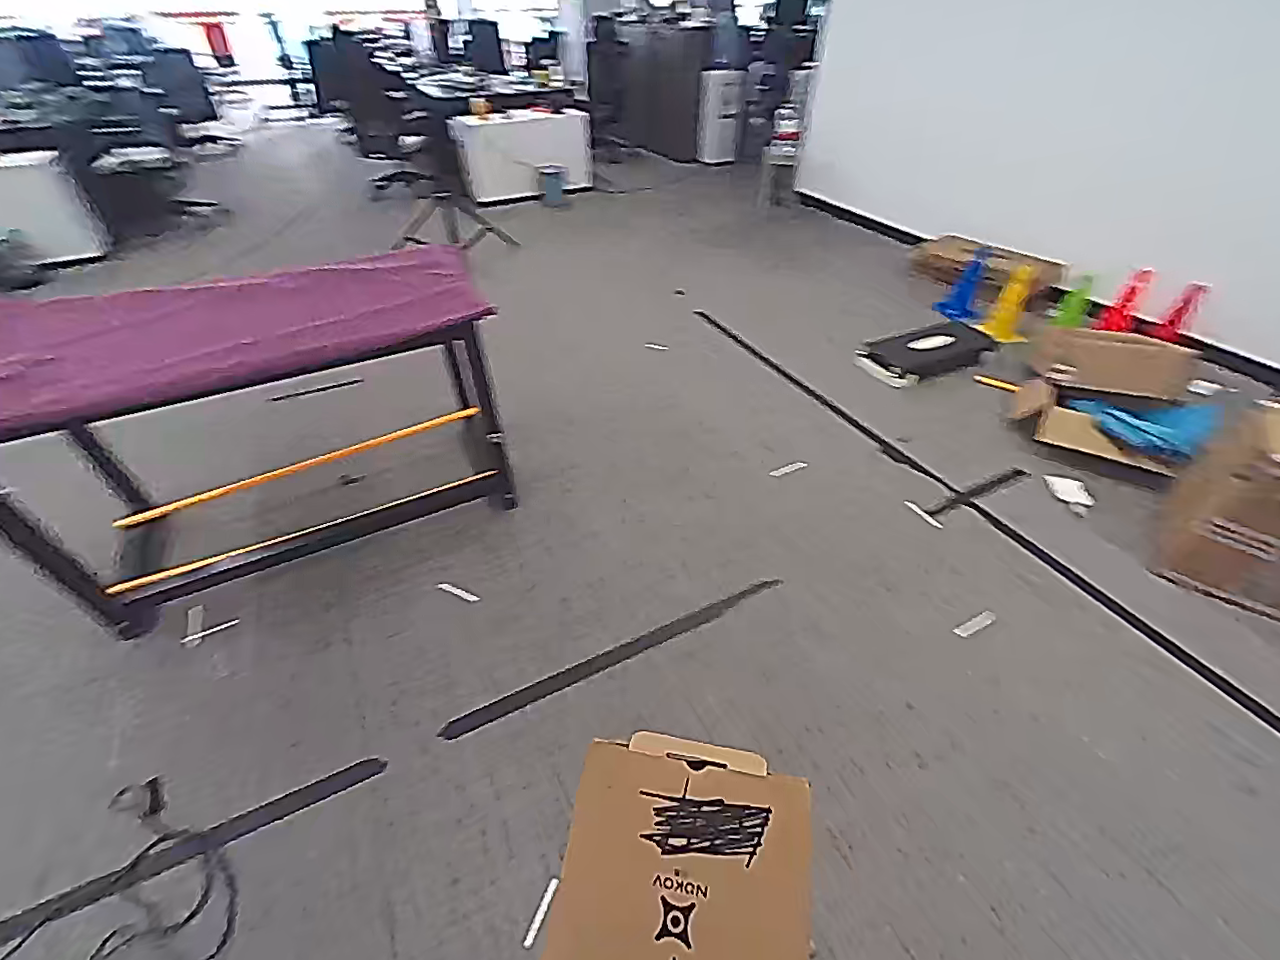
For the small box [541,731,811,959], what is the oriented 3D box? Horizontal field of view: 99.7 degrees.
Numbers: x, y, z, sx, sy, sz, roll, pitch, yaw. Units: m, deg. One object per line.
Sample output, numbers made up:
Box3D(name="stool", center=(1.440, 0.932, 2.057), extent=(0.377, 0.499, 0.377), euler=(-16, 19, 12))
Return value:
Box3D(name="small box", center=(0.033, 0.316, 0.414), extent=(0.168, 0.176, 0.179), euler=(5, 54, 10))
